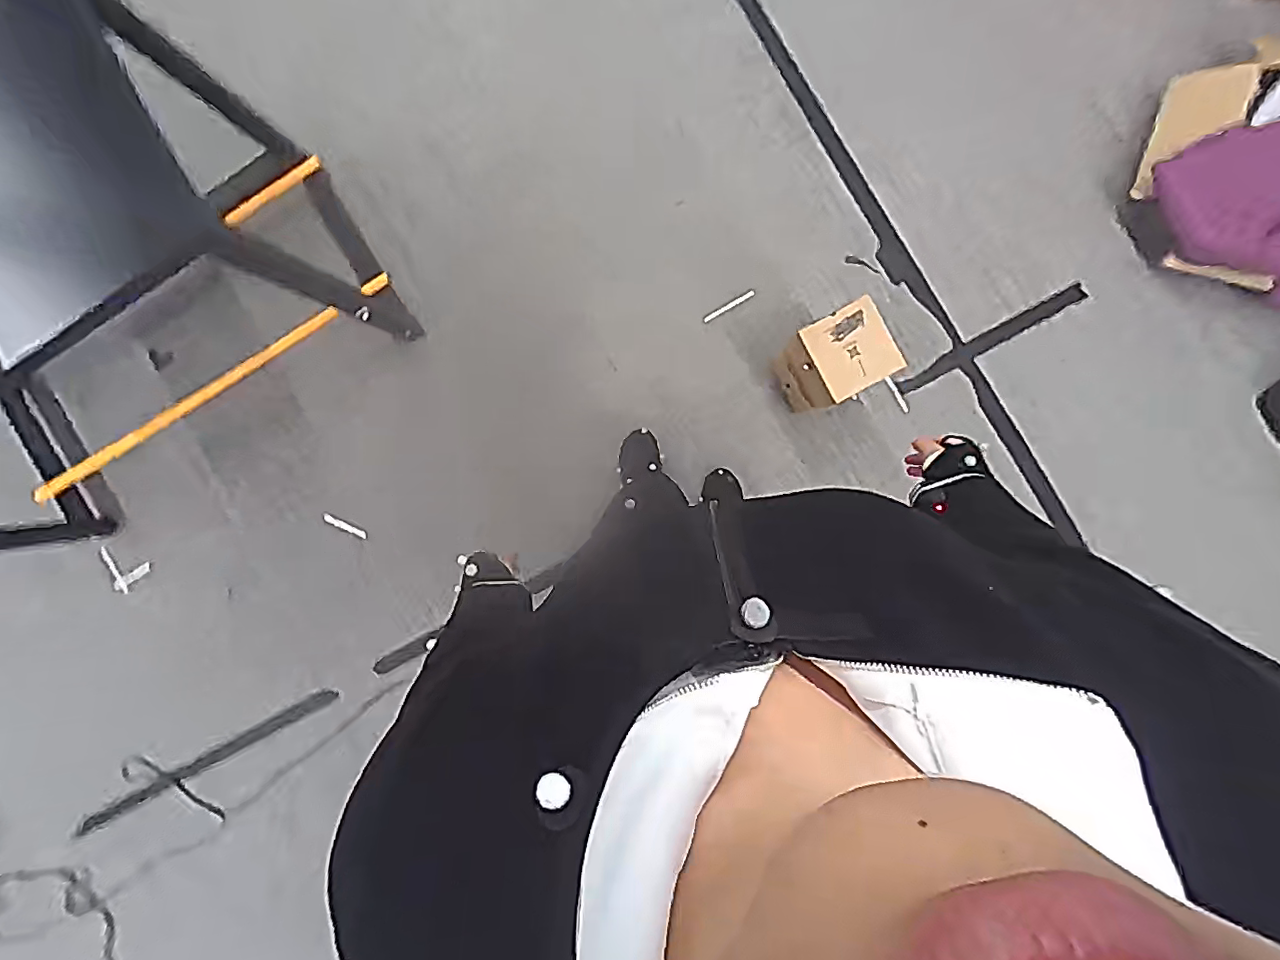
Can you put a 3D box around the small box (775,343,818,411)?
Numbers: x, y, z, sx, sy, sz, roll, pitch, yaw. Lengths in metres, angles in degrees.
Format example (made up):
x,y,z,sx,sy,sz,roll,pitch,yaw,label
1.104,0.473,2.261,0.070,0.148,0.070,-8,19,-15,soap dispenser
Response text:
x,y,z,sx,sy,sz,roll,pitch,yaw,label
0.456,-0.287,1.370,0.179,0.176,0.168,-27,90,6,small box

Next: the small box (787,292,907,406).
x,y,z,sx,sy,sz,roll,pitch,yaw,label
0.450,-0.281,1.205,0.168,0.176,0.179,-28,91,5,small box
